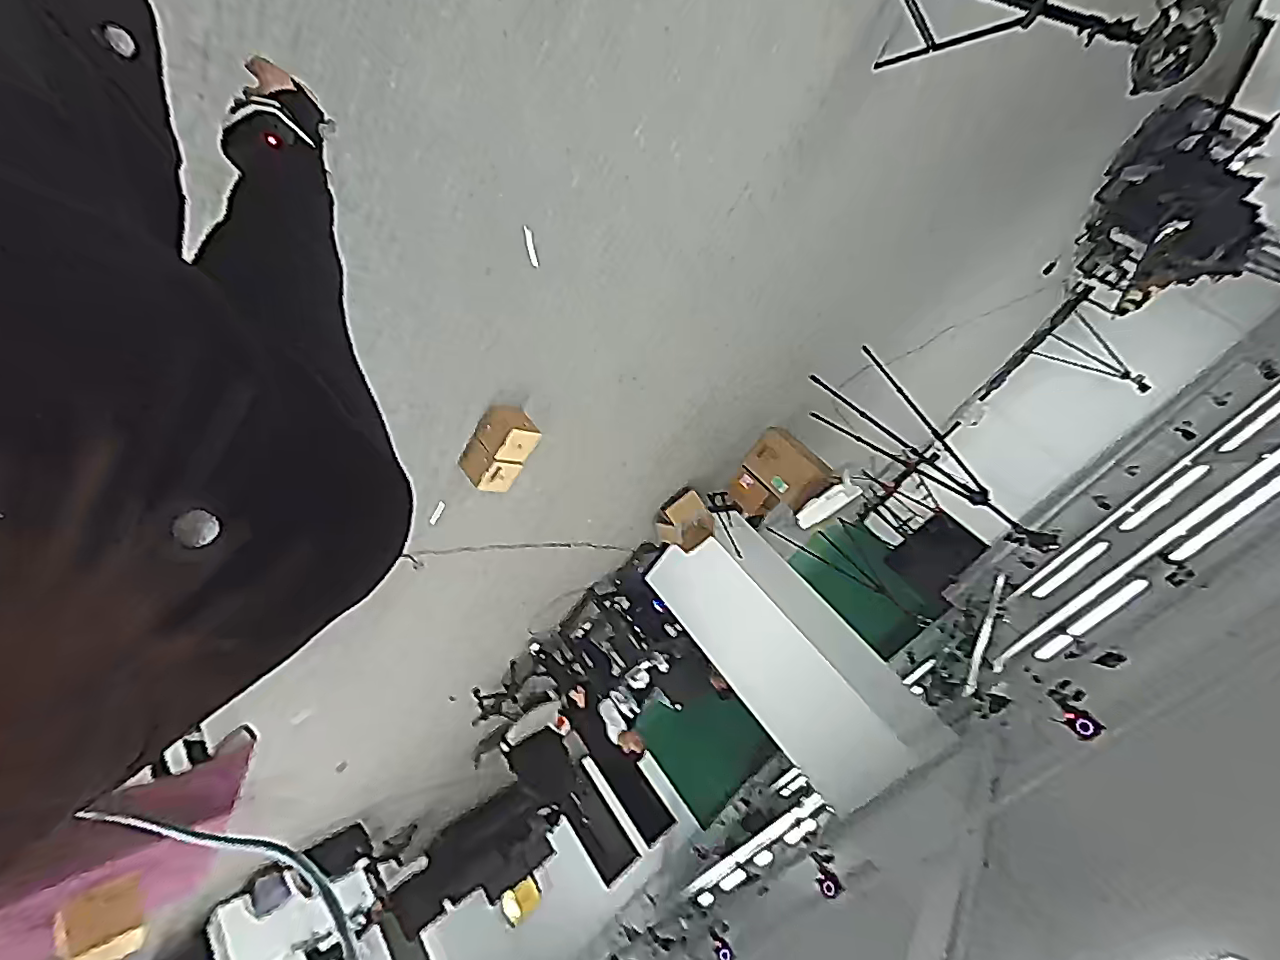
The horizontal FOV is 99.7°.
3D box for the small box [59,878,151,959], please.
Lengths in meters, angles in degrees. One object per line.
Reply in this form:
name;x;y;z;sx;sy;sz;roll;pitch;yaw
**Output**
small box;-1.591;1.337;1.605;0.168;0.176;0.179;-2;133;-54
